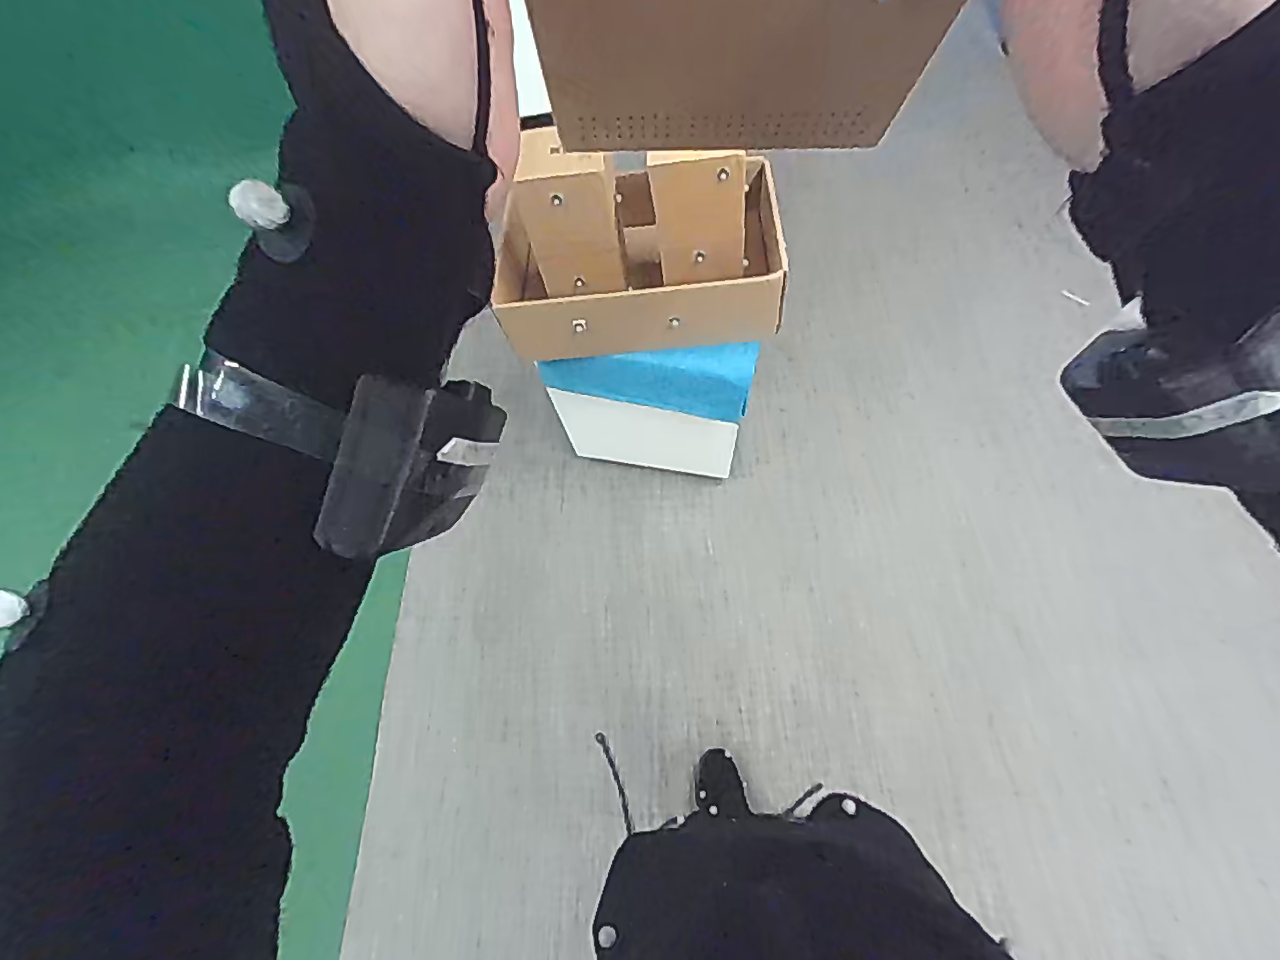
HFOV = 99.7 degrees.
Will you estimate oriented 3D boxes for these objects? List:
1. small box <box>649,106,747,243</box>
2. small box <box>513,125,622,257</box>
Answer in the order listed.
[{"bbox_3d":[0.117,-0.587,1.057,0.179,0.176,0.168,-3,62,8],"label":"small box"},{"bbox_3d":[-0.136,-0.570,1.082,0.179,0.176,0.168,-3,62,6],"label":"small box"}]
